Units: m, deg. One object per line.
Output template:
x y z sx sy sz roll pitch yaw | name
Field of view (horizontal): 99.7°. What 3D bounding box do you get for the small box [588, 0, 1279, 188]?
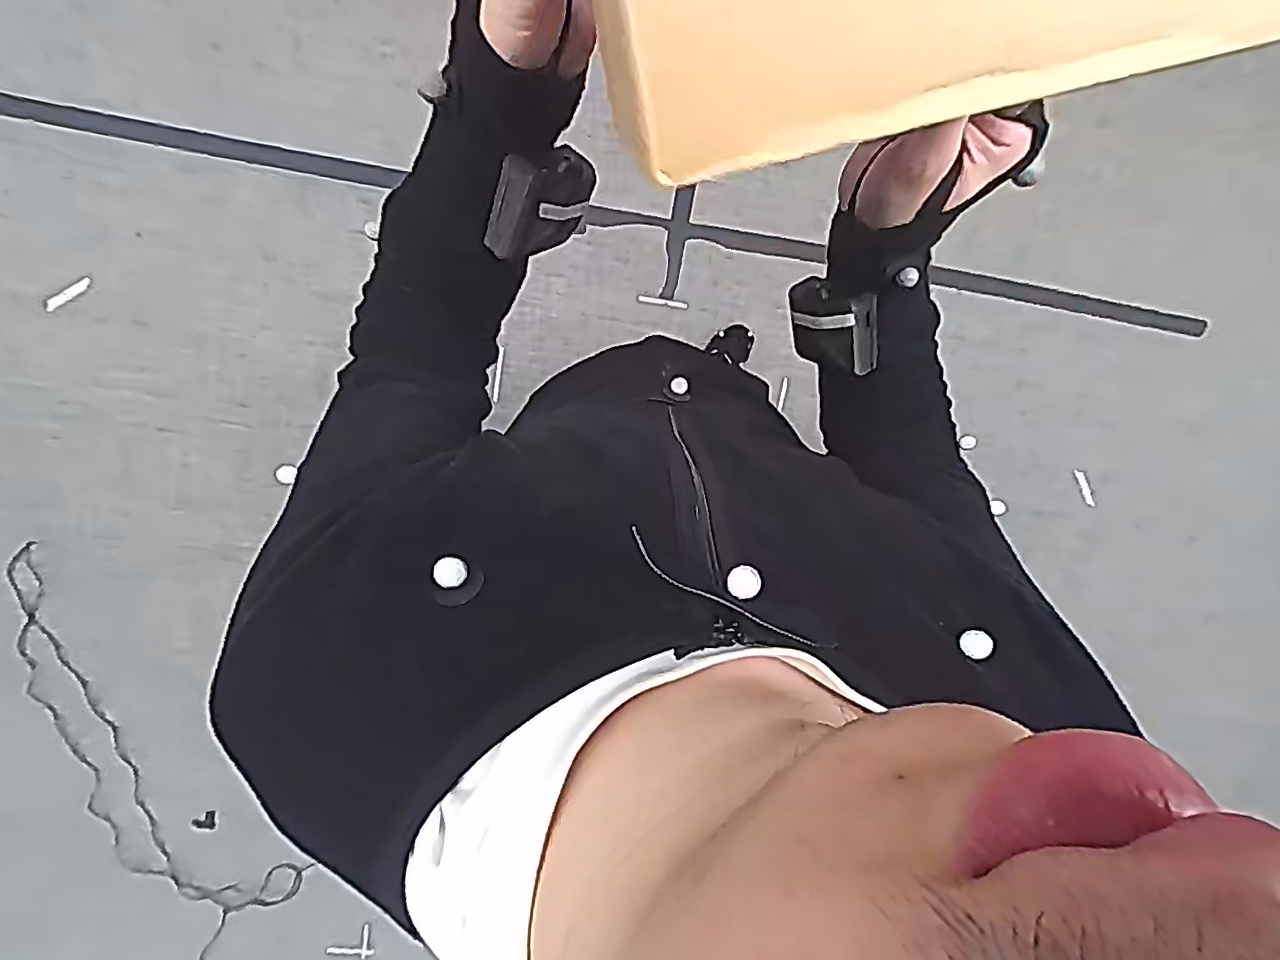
0.064 -0.201 0.146 0.179 0.176 0.168 -12 126 4 | small box
